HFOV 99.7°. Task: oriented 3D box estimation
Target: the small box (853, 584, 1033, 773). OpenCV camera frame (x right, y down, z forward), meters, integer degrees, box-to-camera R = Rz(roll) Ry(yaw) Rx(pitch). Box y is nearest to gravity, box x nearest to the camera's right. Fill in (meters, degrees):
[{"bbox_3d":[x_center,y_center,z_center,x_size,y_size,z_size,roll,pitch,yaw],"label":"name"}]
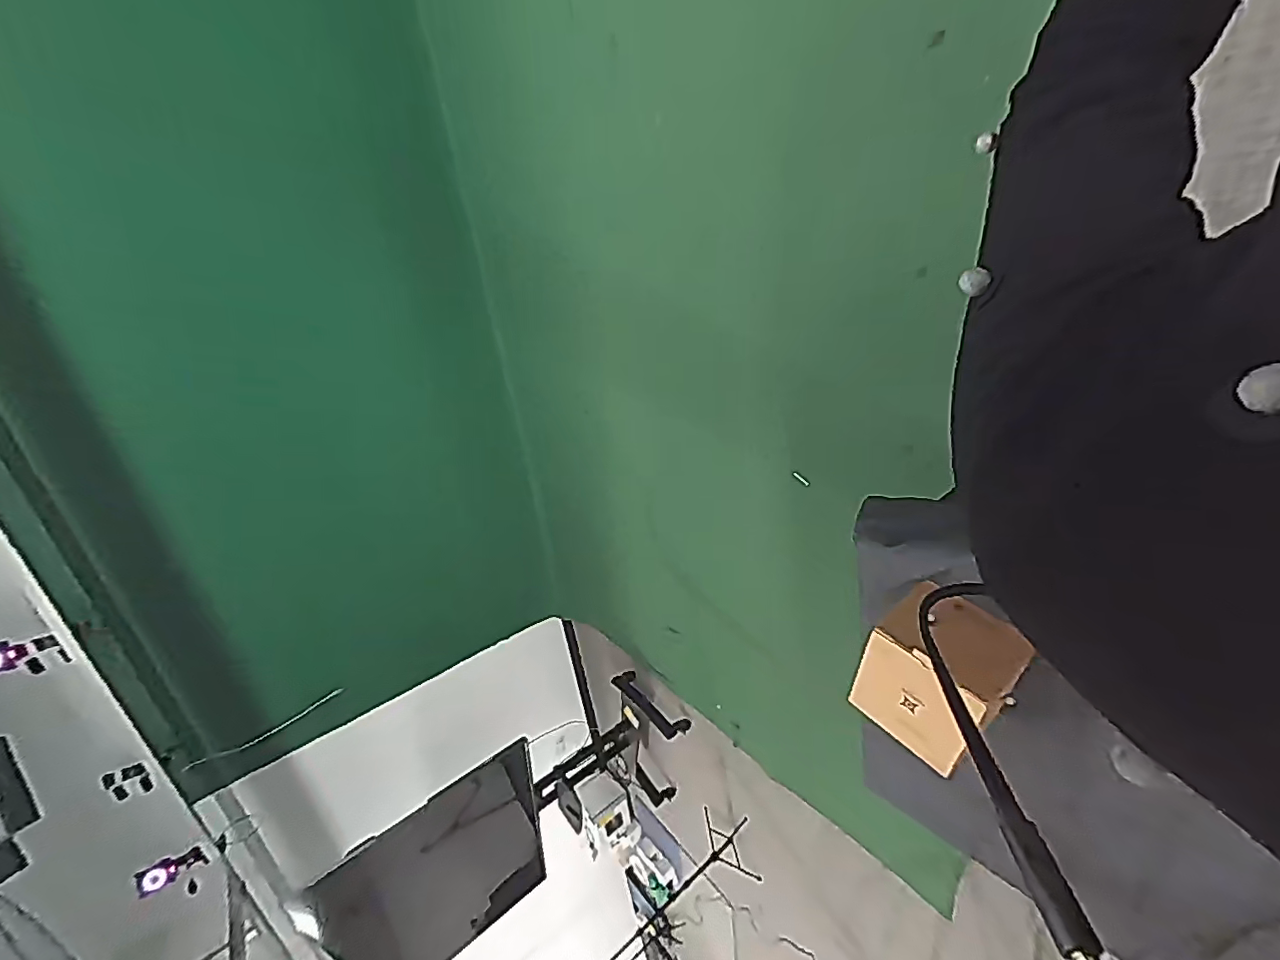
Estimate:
[{"bbox_3d":[0.460,0.292,0.828,0.168,0.176,0.179,35,139,42],"label":"small box"}]
